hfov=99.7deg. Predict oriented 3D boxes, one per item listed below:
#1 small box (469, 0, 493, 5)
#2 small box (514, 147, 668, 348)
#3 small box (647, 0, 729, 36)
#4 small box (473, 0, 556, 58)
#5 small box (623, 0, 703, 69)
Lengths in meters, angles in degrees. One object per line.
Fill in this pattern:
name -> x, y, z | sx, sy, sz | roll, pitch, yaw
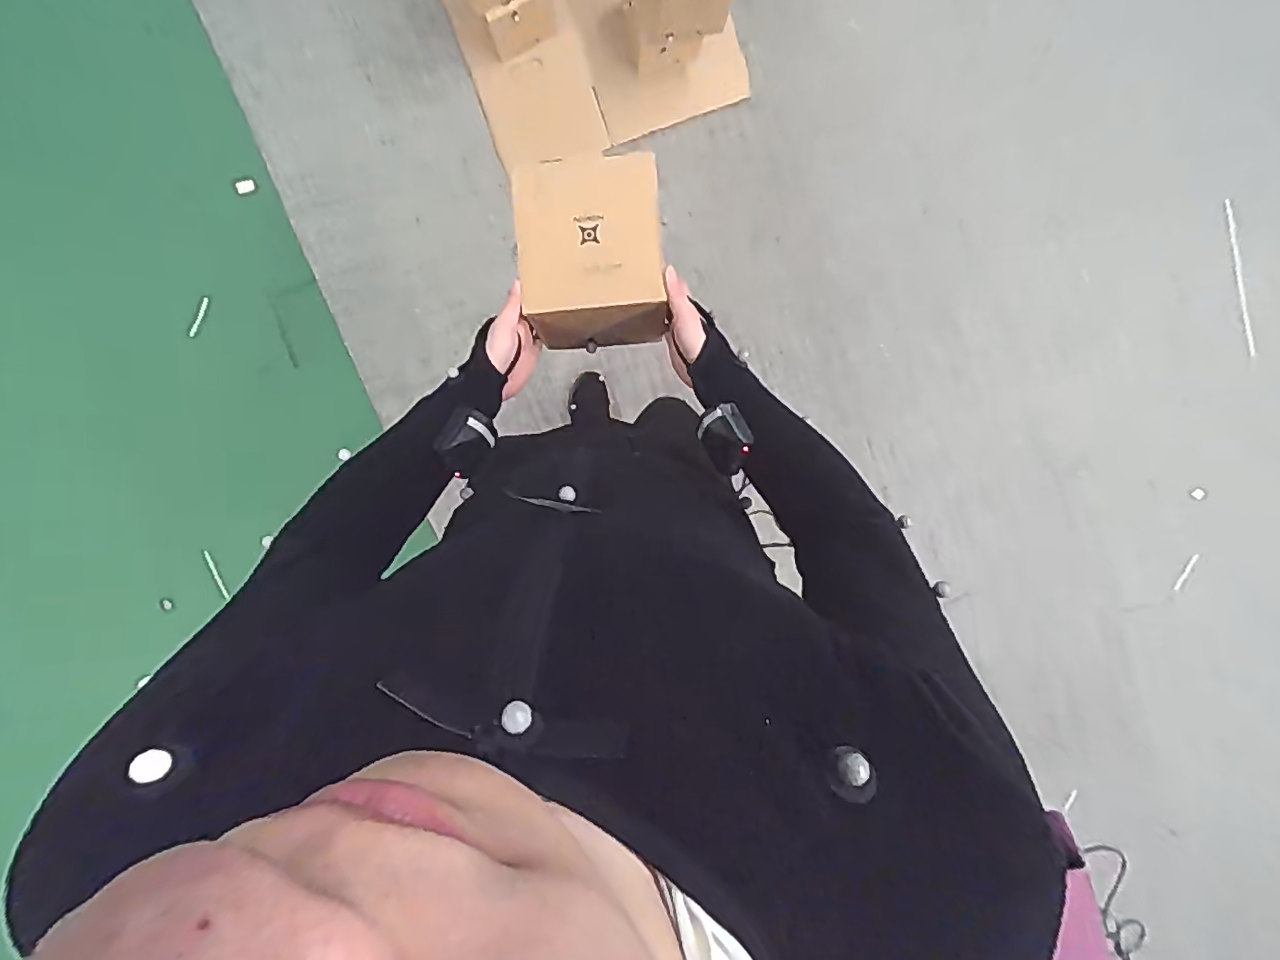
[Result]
small box -> -0.334, -1.153, 1.128 | 0.168, 0.176, 0.179 | -27, 100, 1
small box -> -0.055, -0.279, 0.680 | 0.168, 0.176, 0.179 | -4, 89, 1
small box -> 0.101, -1.097, 1.157 | 0.168, 0.176, 0.179 | -11, 100, -1
small box -> -0.318, -1.176, 1.292 | 0.168, 0.176, 0.179 | -27, 100, 3
small box -> 0.057, -1.143, 1.314 | 0.168, 0.176, 0.179 | -15, 100, 0
